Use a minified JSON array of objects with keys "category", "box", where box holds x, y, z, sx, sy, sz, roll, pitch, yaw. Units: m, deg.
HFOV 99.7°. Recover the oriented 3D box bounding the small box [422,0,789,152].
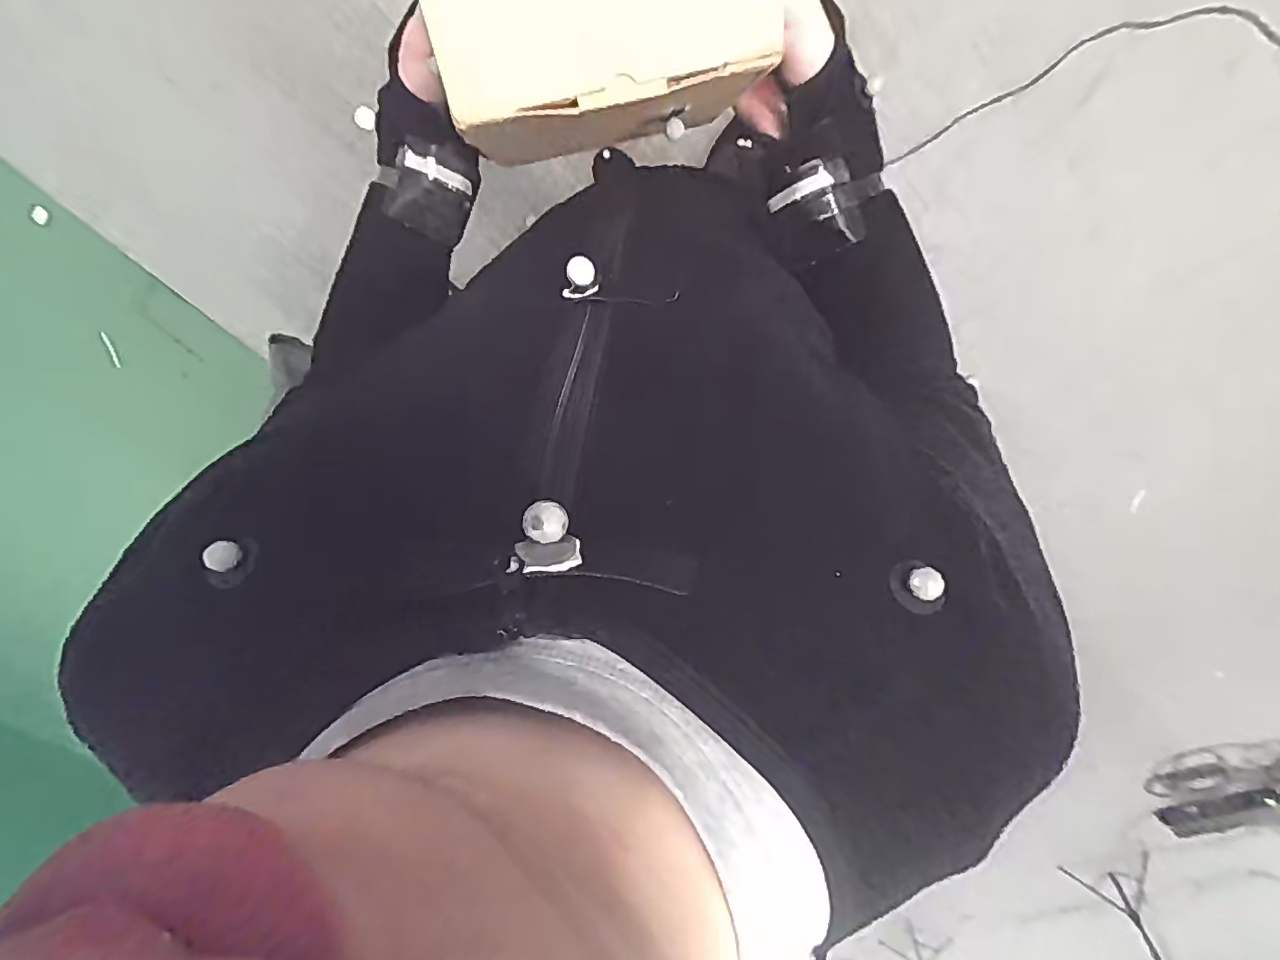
[{"category":"small box","box":[-0.032,-0.296,0.293,0.168,0.176,0.179,-13,114,-1]}]
